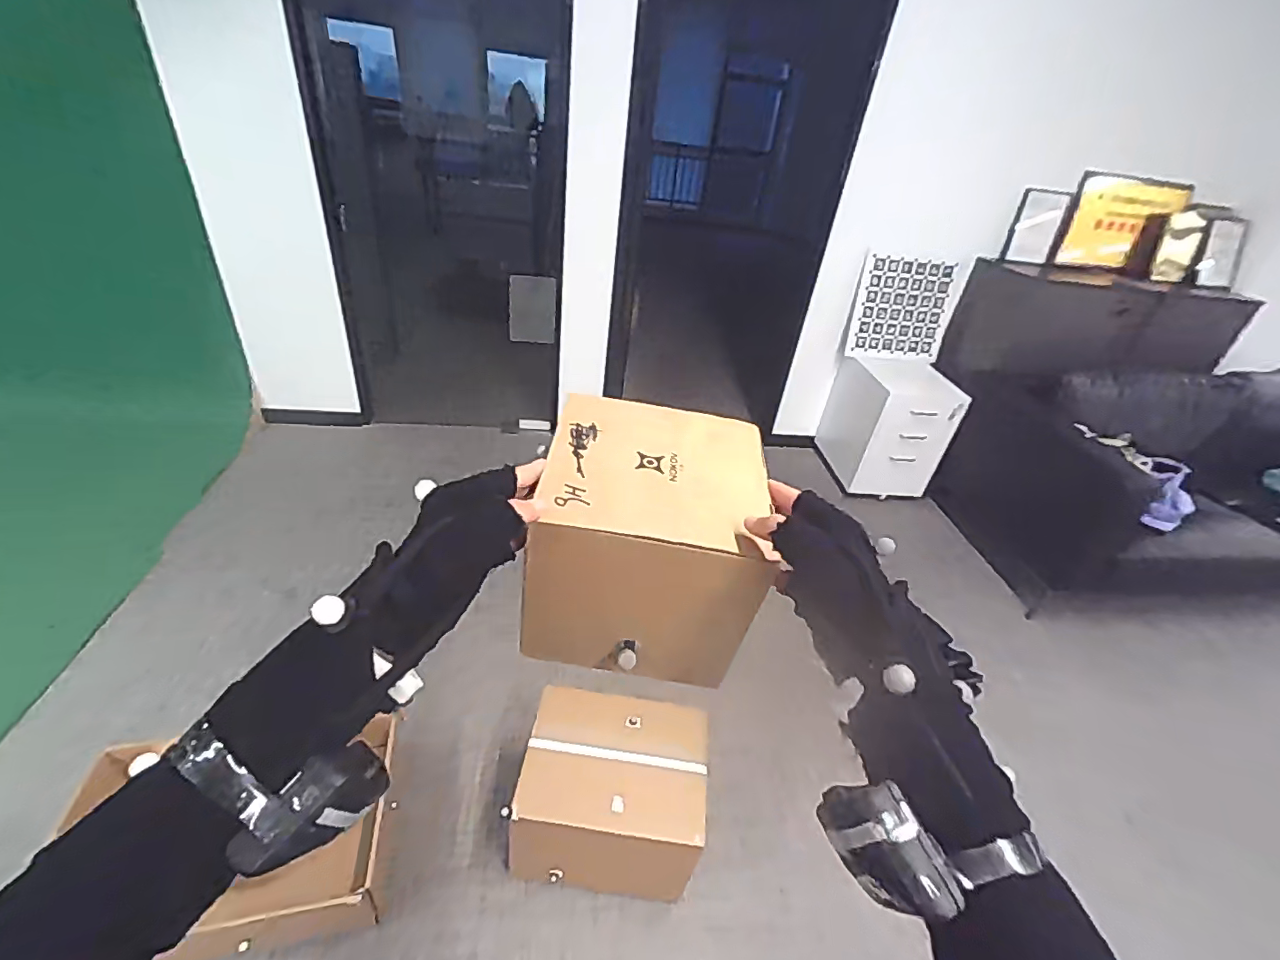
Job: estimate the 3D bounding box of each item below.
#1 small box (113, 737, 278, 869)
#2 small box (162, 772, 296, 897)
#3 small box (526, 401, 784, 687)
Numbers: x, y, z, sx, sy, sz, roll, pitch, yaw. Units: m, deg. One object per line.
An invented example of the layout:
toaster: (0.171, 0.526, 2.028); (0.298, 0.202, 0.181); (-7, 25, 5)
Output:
small box: (-0.852, 0.633, 1.060); (0.179, 0.176, 0.168); (2, 35, -12)
small box: (-0.876, 0.761, 1.162); (0.179, 0.176, 0.168); (0, 36, -14)
small box: (0.007, 0.058, 0.476); (0.179, 0.176, 0.168); (11, 38, -3)
